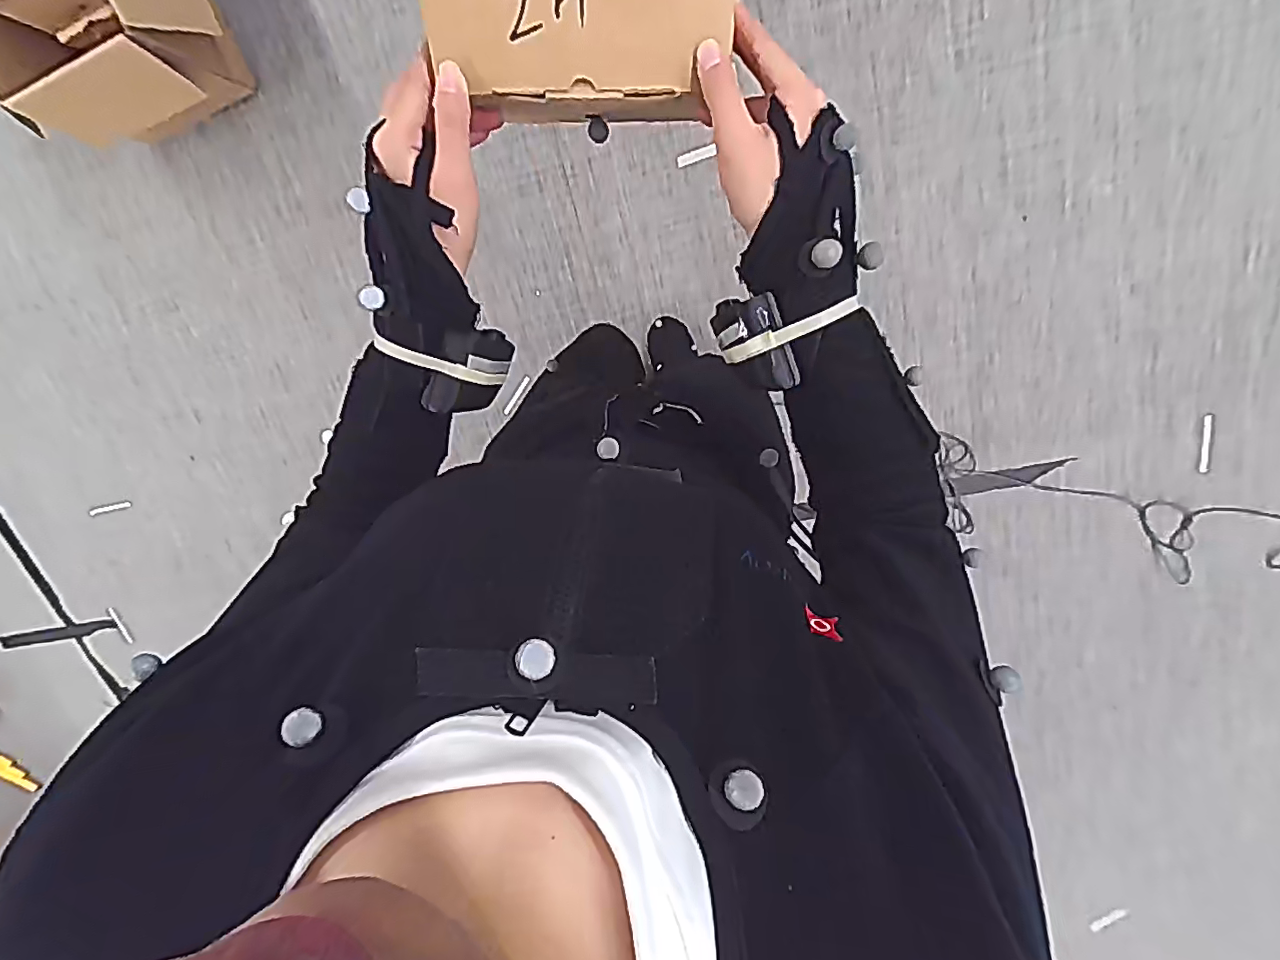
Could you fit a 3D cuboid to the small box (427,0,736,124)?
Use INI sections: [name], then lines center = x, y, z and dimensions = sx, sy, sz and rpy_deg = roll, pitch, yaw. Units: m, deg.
[small box]
center = -0.030, -0.335, 0.333
dimensions = 0.168, 0.176, 0.179
rpy_deg = 0, 118, 1
